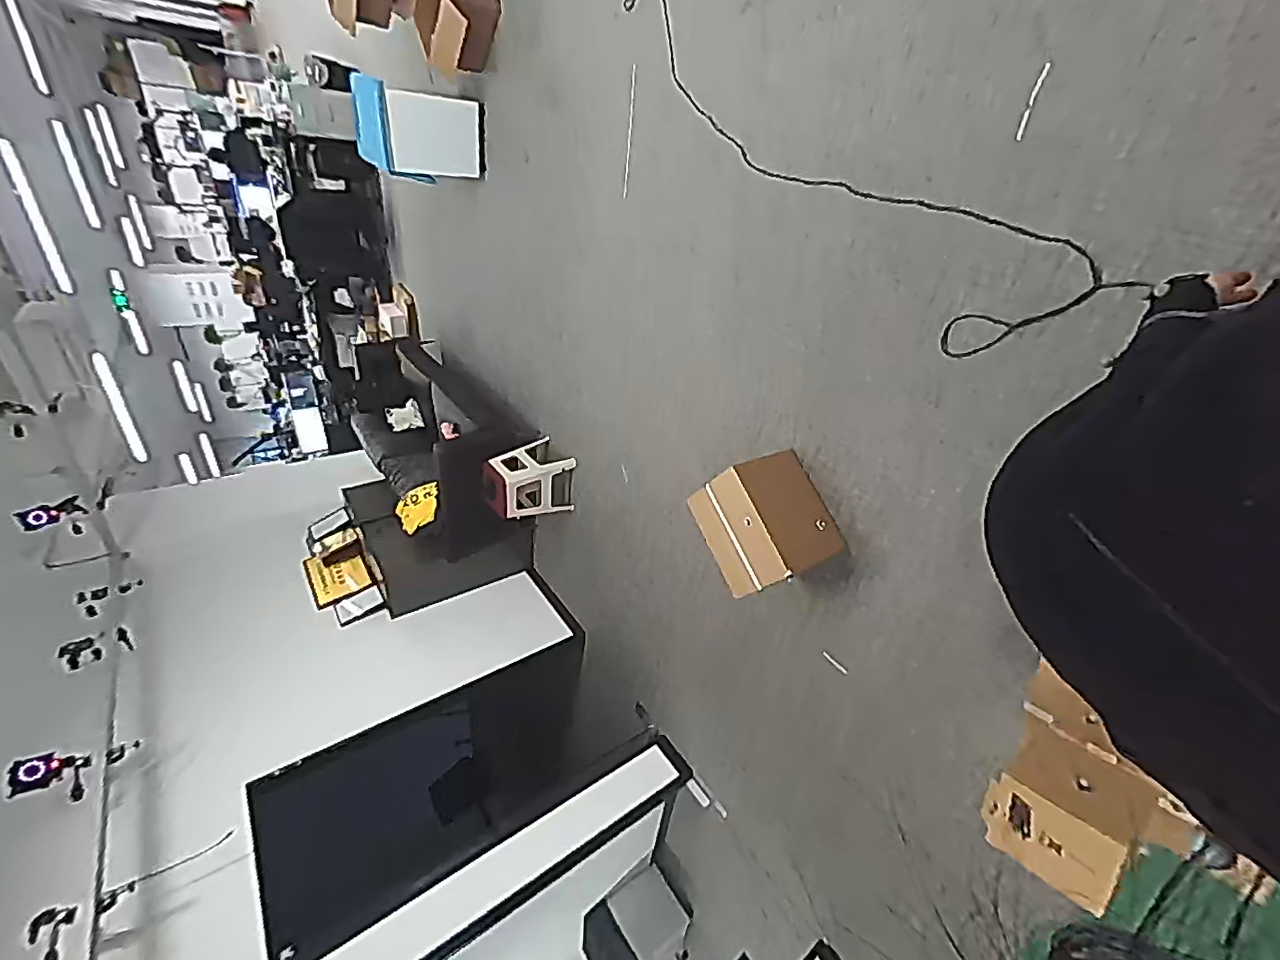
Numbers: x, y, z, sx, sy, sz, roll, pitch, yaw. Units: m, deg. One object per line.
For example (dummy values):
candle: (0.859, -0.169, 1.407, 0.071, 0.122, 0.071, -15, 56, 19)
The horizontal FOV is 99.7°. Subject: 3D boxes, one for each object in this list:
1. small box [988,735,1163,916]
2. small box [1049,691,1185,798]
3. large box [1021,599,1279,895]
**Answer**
small box: (0.749, 0.578, 0.937, 0.179, 0.176, 0.168, 24, 122, 50)
small box: (0.883, 0.539, 1.022, 0.168, 0.176, 0.179, 26, 124, 50)
large box: (1.106, 0.506, 1.129, 0.408, 0.320, 0.320, 23, 123, 49)
